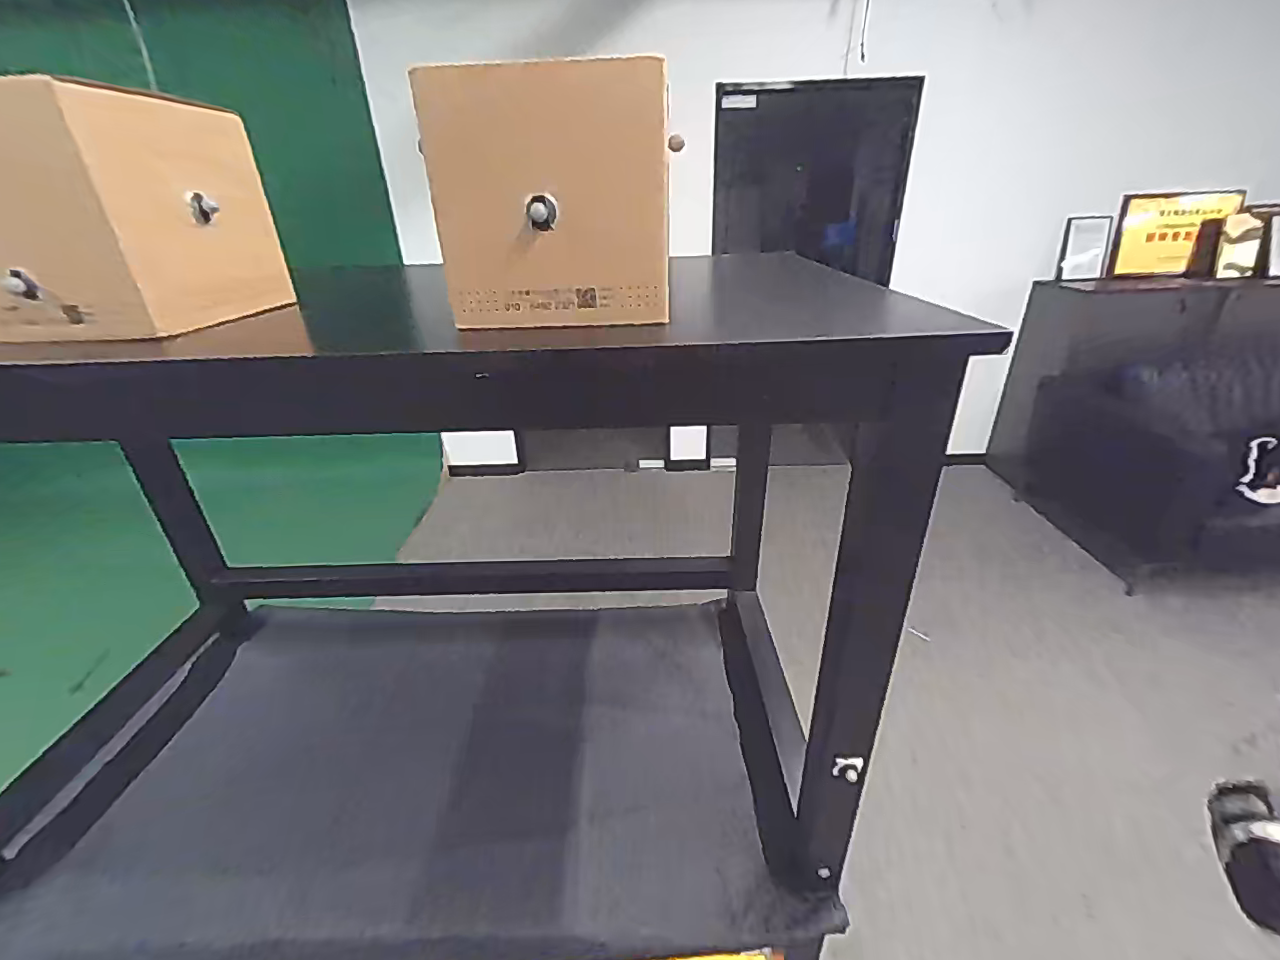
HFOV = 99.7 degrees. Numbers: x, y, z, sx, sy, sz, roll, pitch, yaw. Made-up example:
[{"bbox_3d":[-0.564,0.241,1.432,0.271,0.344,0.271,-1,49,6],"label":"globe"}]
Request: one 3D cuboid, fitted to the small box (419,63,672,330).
[{"bbox_3d":[-0.057,-0.225,0.453,0.168,0.176,0.179,0,27,2],"label":"small box"}]
